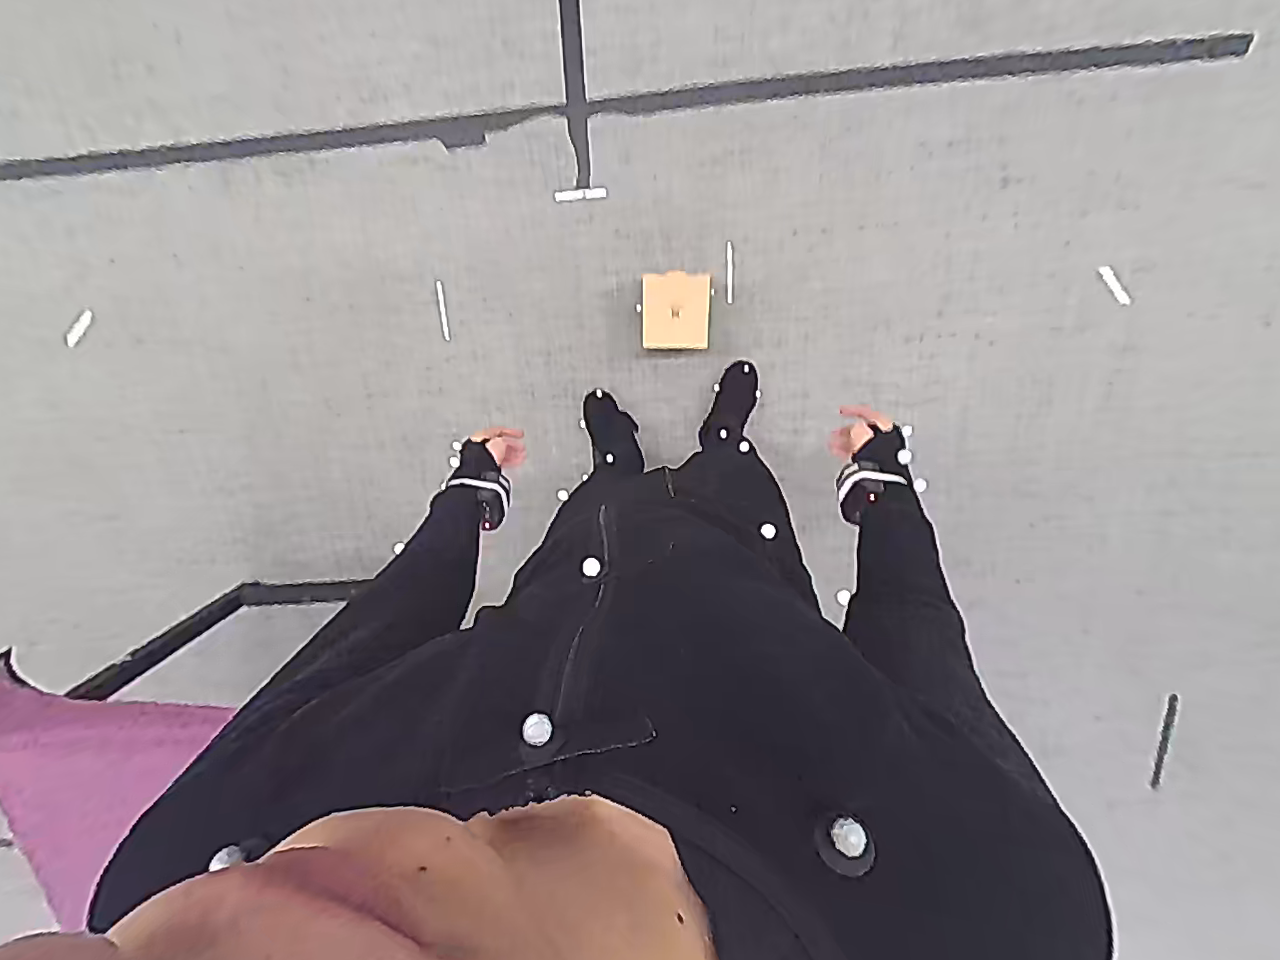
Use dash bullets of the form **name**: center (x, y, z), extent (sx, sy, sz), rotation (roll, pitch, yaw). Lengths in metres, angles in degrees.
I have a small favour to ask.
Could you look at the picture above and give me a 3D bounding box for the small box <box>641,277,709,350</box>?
- **small box**: center (0.090, -0.436, 1.419), extent (0.168, 0.176, 0.179), rotation (1, 106, 2)
